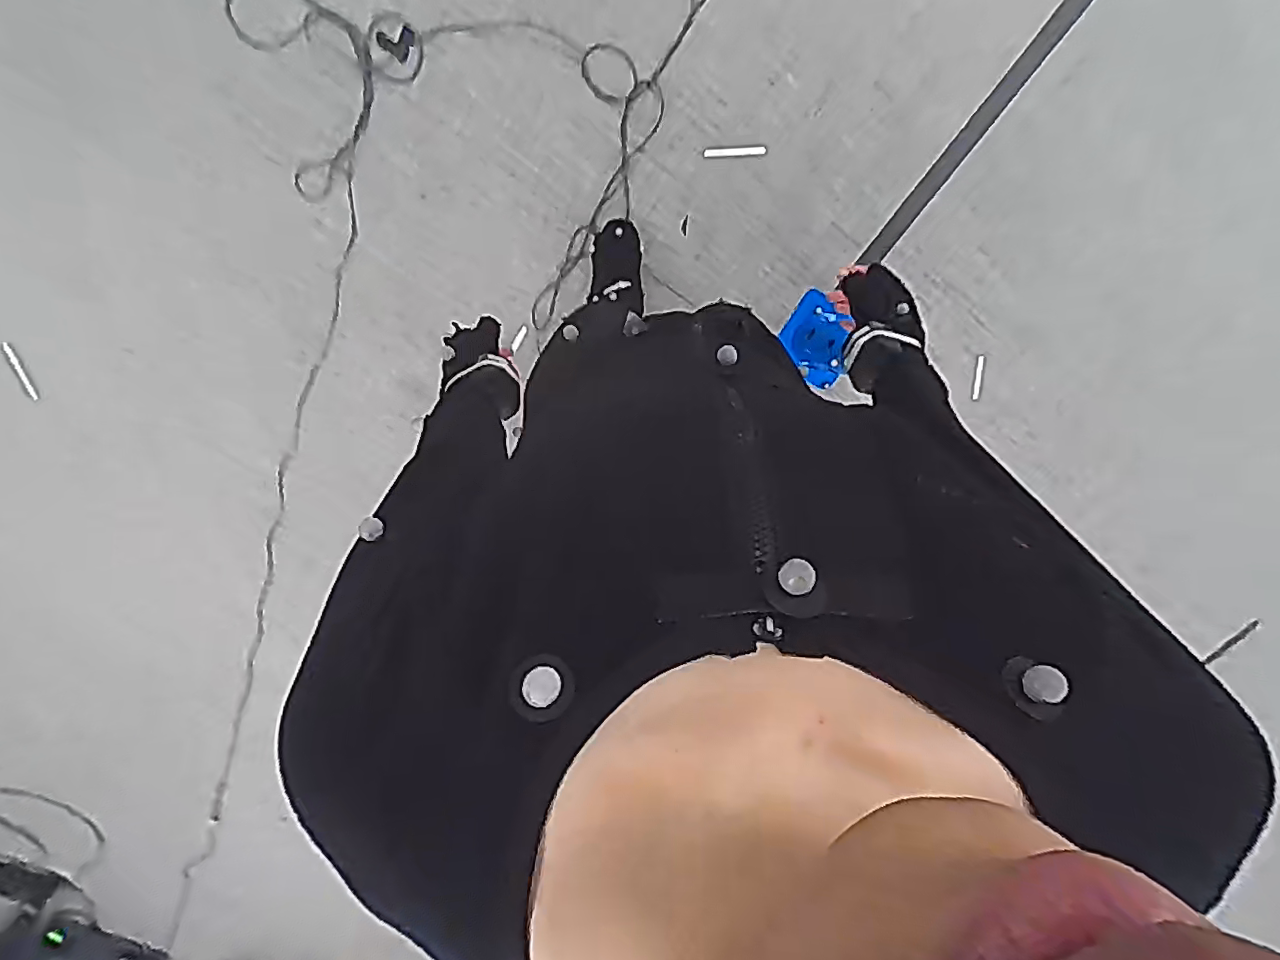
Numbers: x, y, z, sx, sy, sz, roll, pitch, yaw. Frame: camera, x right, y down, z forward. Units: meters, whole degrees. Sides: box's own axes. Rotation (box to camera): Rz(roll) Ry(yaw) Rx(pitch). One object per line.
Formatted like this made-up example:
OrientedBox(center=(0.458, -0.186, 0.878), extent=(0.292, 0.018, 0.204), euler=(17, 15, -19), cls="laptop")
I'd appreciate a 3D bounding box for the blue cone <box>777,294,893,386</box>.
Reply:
OrientedBox(center=(0.469, -0.292, 1.237), extent=(0.192, 0.380, 0.193), euler=(28, 110, -13), cls="blue cone")
